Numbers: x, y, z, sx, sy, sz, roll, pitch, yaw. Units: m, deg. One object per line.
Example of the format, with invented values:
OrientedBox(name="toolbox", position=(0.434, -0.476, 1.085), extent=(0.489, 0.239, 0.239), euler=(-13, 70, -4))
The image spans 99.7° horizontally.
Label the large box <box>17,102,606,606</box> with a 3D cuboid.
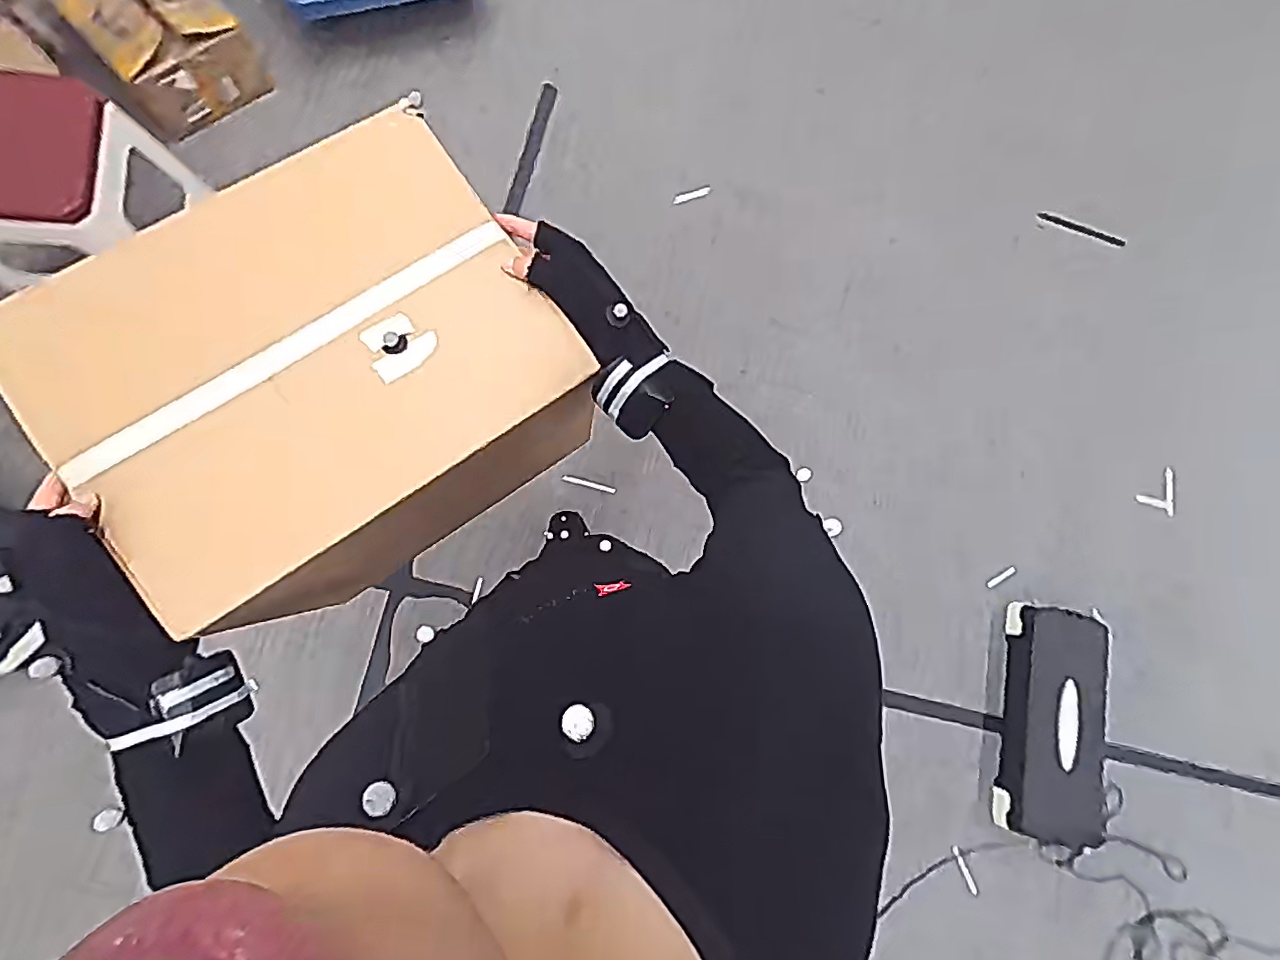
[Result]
OrientedBox(name="large box", position=(-0.292, -0.106, 0.619), extent=(0.408, 0.320, 0.320), euler=(-34, 87, -11))
